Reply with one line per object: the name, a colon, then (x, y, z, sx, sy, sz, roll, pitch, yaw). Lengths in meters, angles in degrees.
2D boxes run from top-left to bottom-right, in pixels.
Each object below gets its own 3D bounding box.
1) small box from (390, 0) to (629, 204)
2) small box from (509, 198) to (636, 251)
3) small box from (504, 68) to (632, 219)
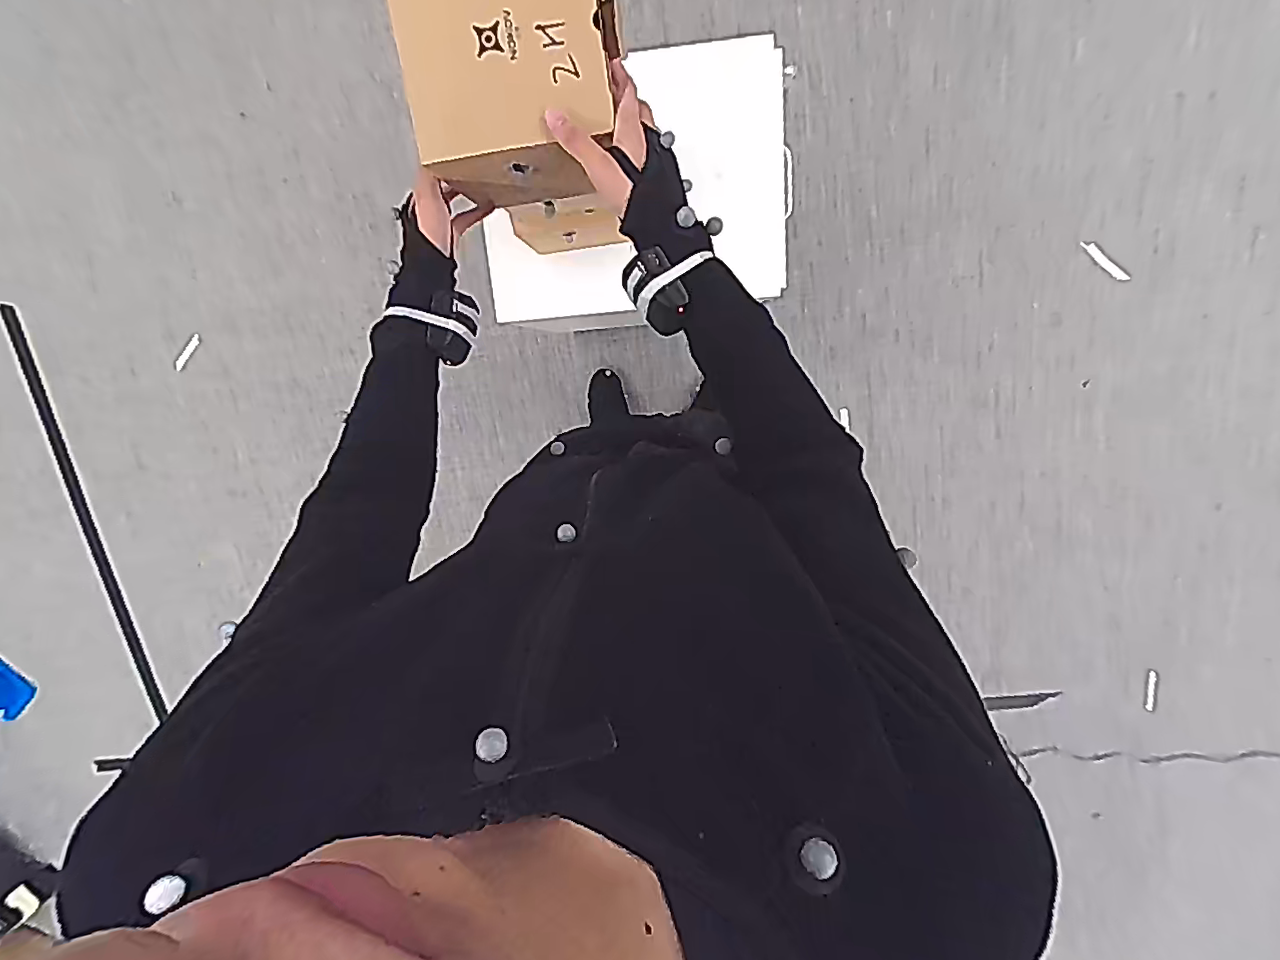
small box: (-0.111, -0.384, 0.525, 0.179, 0.176, 0.168, -6, 104, 4)
small box: (-0.105, -0.466, 0.842, 0.179, 0.176, 0.168, -7, 103, 4)
small box: (-0.103, -0.442, 0.681, 0.168, 0.176, 0.179, -5, 102, 4)
